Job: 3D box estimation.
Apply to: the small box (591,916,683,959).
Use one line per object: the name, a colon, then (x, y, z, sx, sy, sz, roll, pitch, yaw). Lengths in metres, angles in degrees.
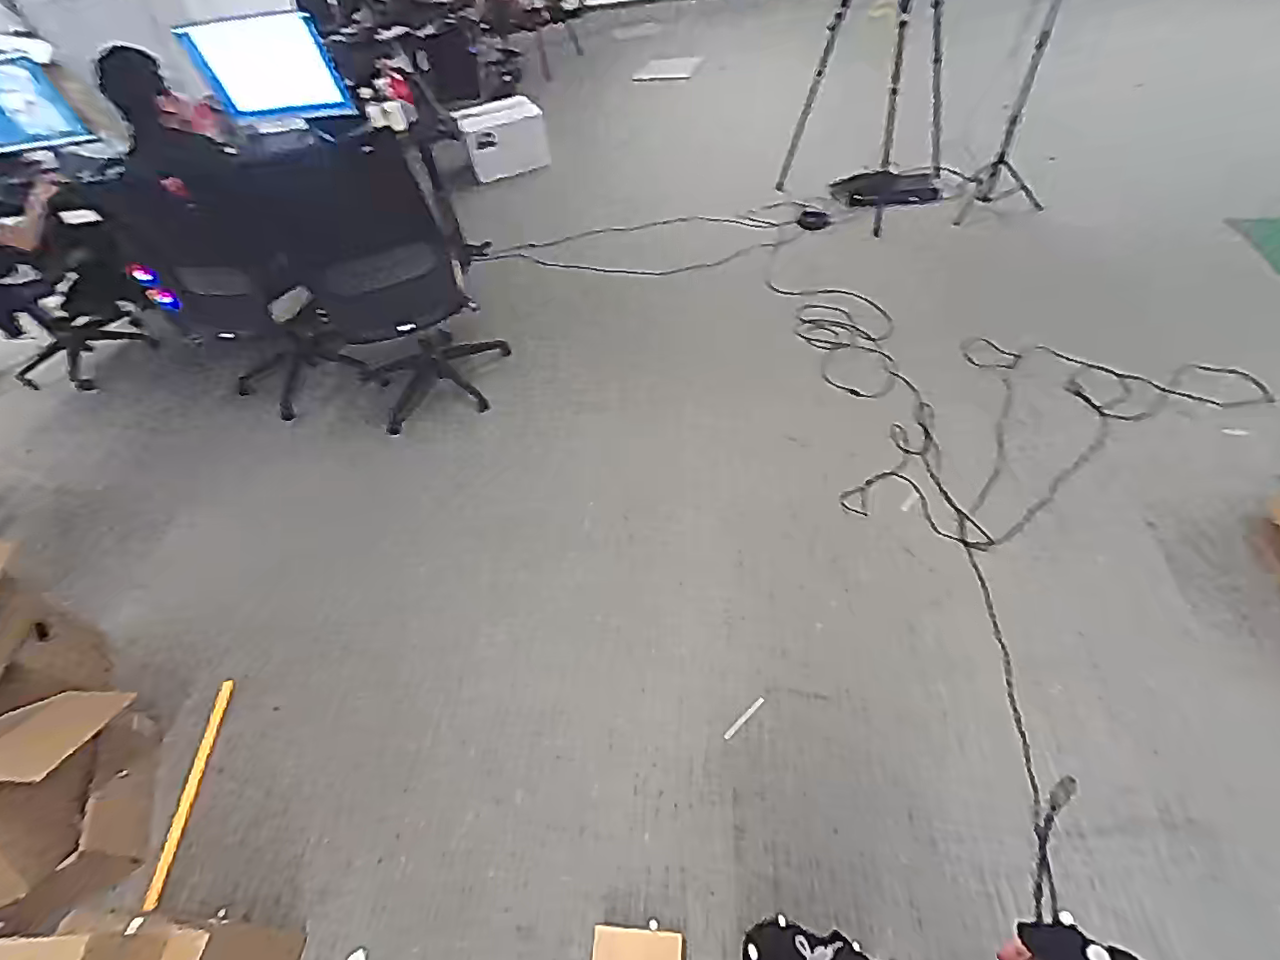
small box: (-0.005, 0.946, 1.022, 0.168, 0.176, 0.179, -1, 51, 7)
